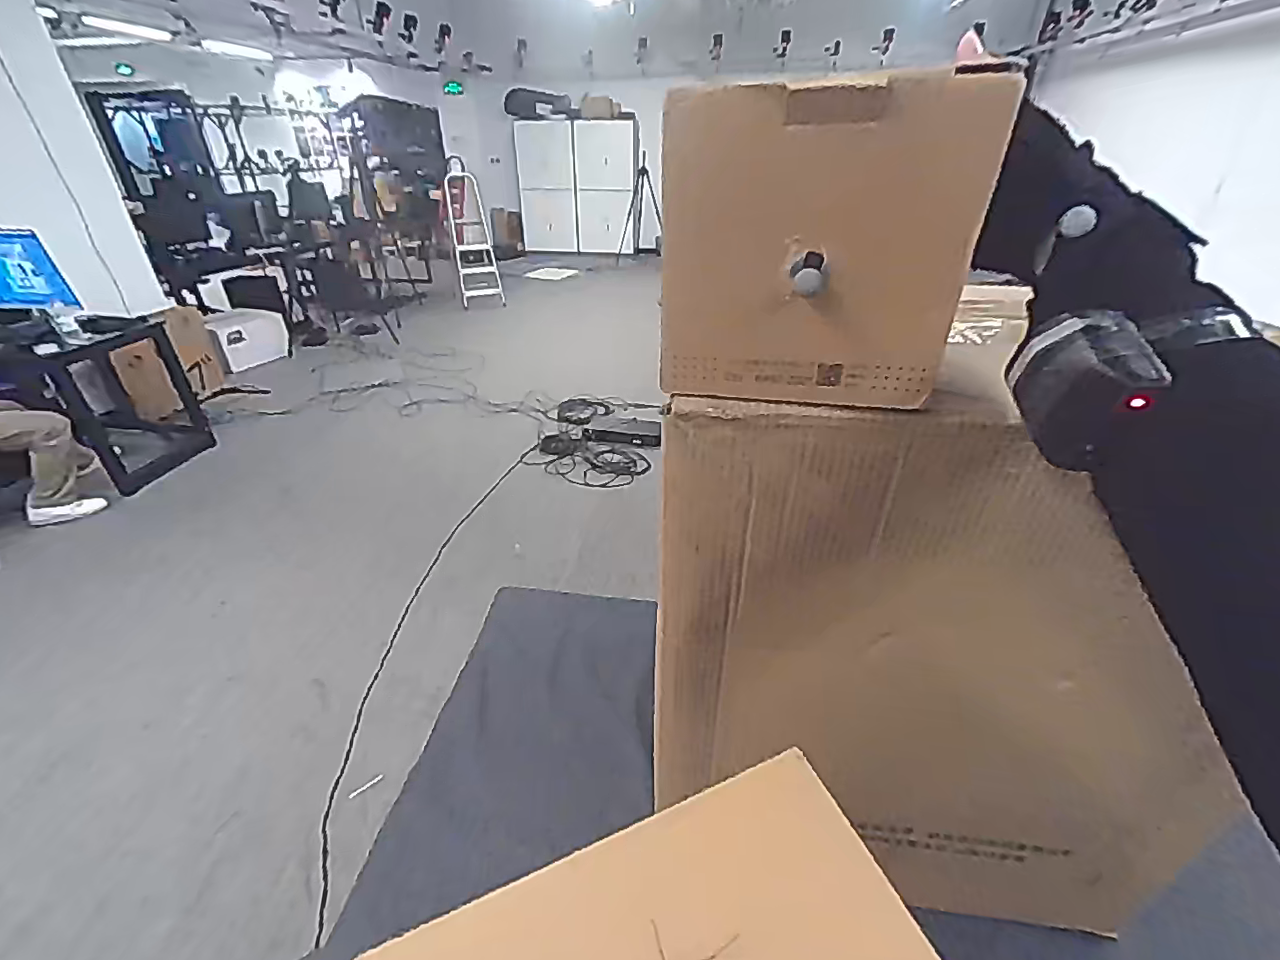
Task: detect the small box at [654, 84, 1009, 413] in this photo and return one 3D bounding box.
[{"bbox_3d":[0.109,-0.158,0.367,0.168,0.176,0.179,7,35,12],"label":"small box"}]
